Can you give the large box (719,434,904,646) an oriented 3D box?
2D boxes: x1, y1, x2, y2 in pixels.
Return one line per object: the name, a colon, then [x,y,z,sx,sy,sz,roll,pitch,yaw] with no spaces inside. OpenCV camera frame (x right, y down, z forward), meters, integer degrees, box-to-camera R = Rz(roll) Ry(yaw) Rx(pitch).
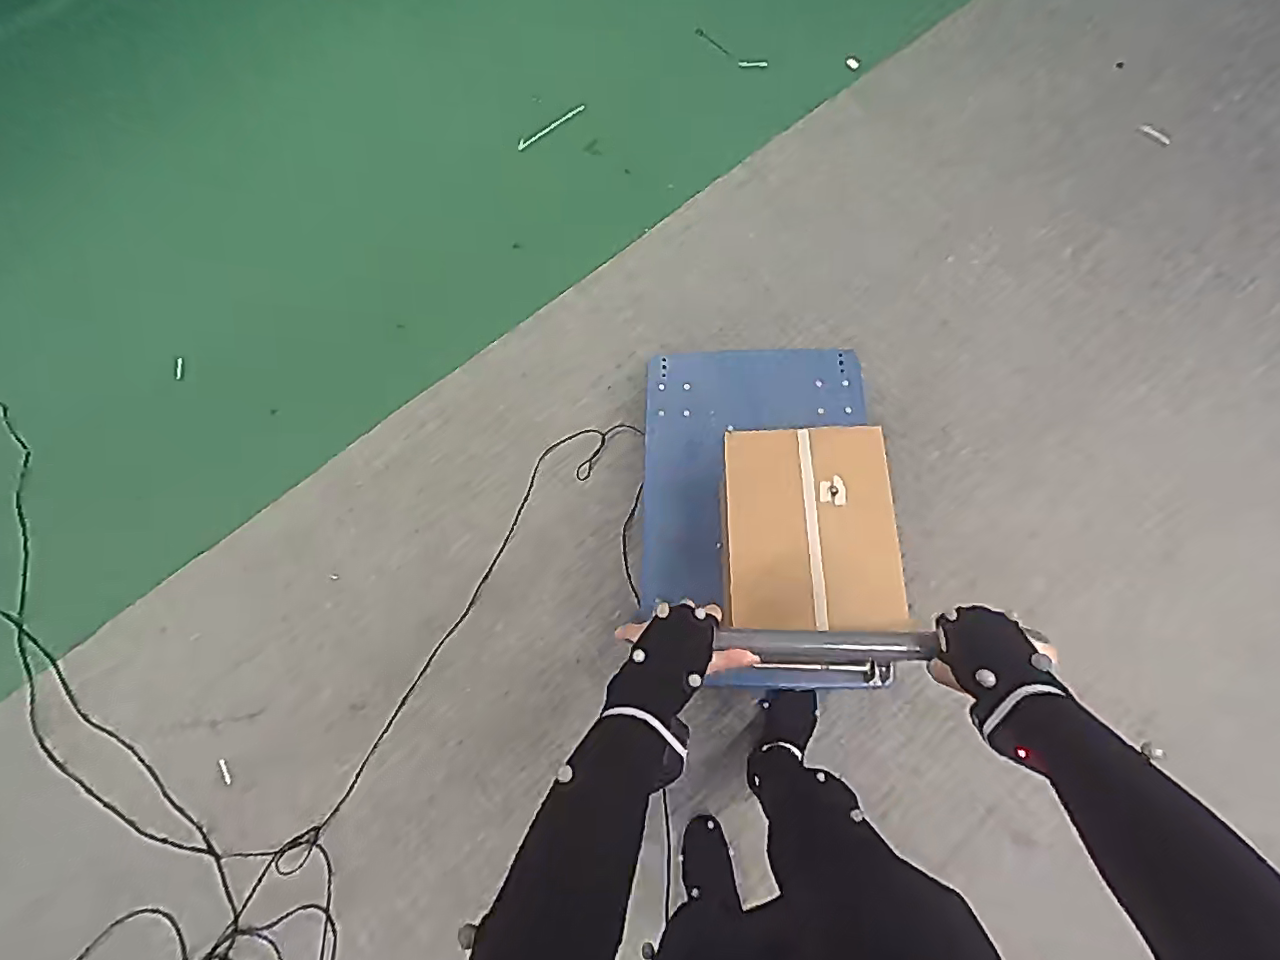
large box: [0.340,0.148,1.188,0.320,0.320,0.408,-1,70,5]
